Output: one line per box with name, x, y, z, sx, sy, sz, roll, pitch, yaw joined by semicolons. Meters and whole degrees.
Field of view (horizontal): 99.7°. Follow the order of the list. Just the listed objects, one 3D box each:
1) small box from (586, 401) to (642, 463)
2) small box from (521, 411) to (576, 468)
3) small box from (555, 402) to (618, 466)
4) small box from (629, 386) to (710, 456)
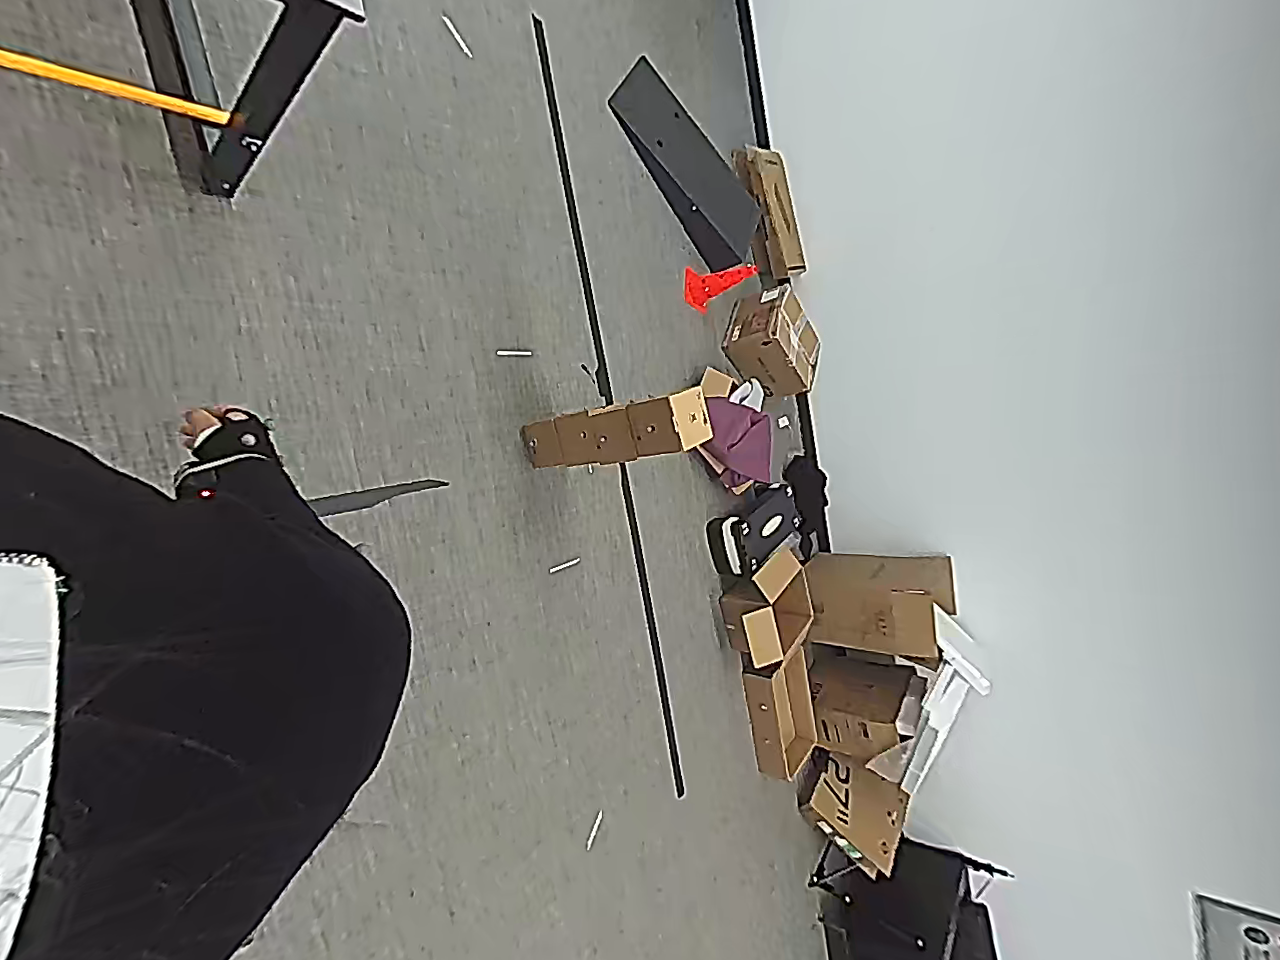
small box;-0.045;-0.159;1.739;0.179;0.176;0.168;-28;107;-47
small box;-0.296;-0.148;1.951;0.179;0.176;0.168;-26;105;-47
small box;-0.169;-0.156;1.847;0.168;0.176;0.179;-23;103;-48
small box;0.083;-0.177;1.638;0.179;0.176;0.168;-27;105;-47
